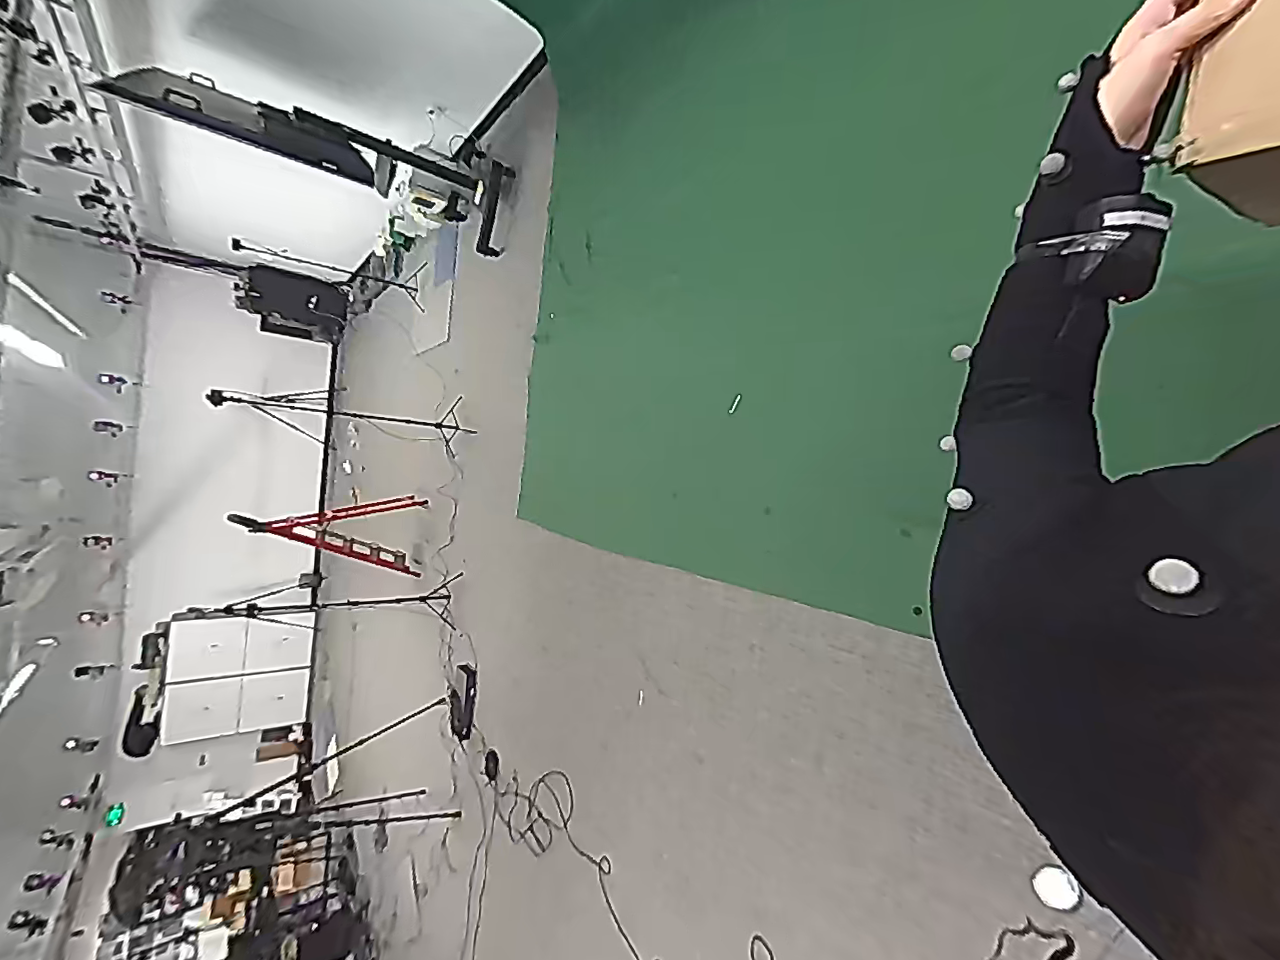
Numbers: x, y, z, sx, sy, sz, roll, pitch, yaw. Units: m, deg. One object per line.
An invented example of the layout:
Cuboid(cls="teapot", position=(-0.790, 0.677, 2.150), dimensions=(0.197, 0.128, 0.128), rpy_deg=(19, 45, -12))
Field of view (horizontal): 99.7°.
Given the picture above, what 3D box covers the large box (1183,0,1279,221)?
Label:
Cuboid(cls="large box", position=(0.628, -0.367, 0.286), dimensions=(0.408, 0.320, 0.320), rpy_deg=(14, 108, 56))
